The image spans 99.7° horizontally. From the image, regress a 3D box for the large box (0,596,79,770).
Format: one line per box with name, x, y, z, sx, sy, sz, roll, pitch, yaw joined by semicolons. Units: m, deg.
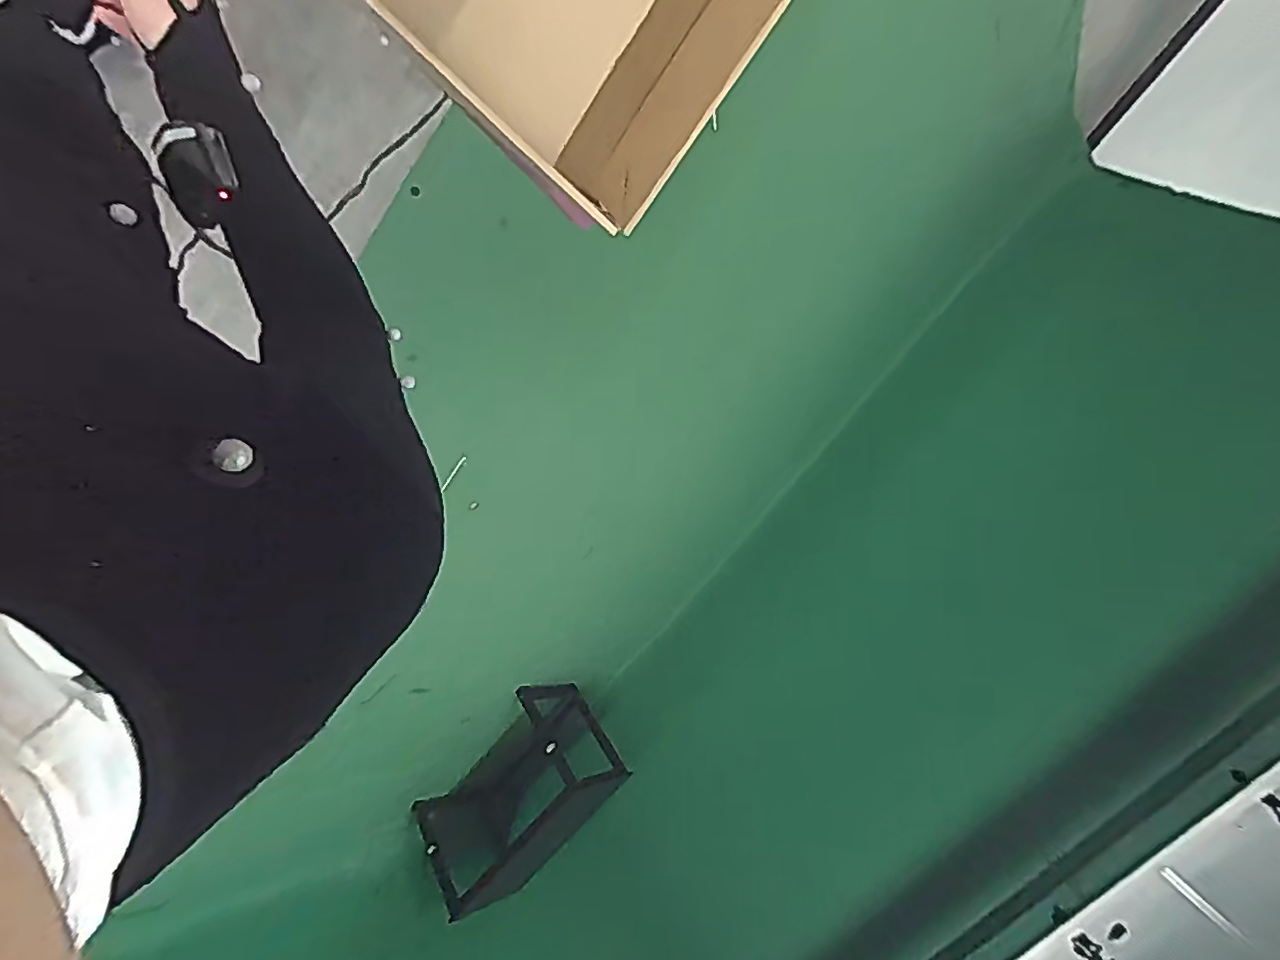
large box;-1.755;0.560;1.363;0.408;0.320;0.320;-17;139;-35
